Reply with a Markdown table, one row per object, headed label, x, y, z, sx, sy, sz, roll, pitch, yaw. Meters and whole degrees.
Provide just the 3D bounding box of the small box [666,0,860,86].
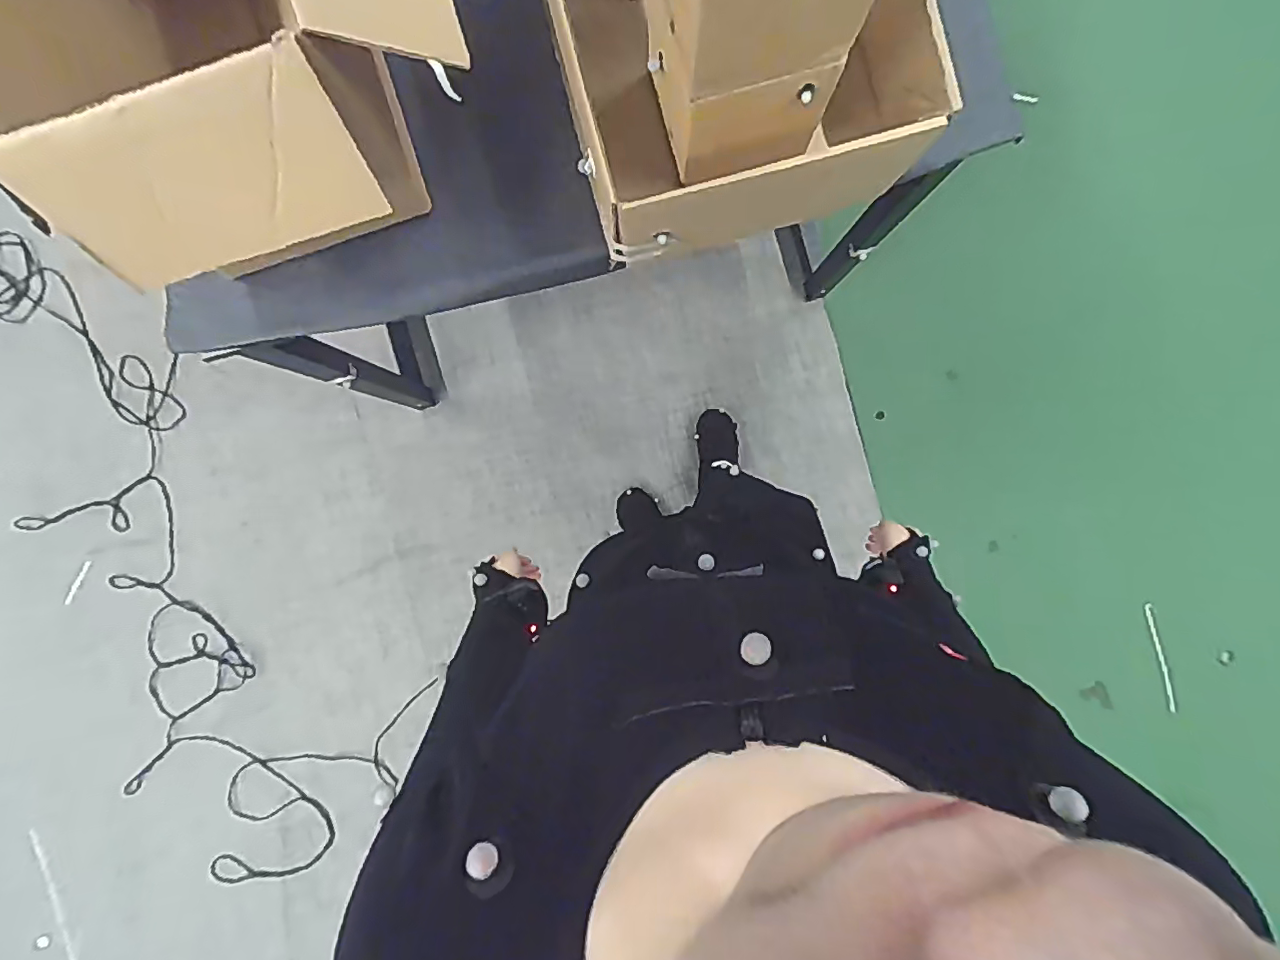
| label | x | y | z | sx | sy | sz | roll | pitch | yaw |
| --- | --- | --- | --- | --- | --- | --- | --- | --- | --- |
| small box | 0.108 | -0.501 | 0.482 | 0.179 | 0.176 | 0.168 | -16 | 91 | 0 |
